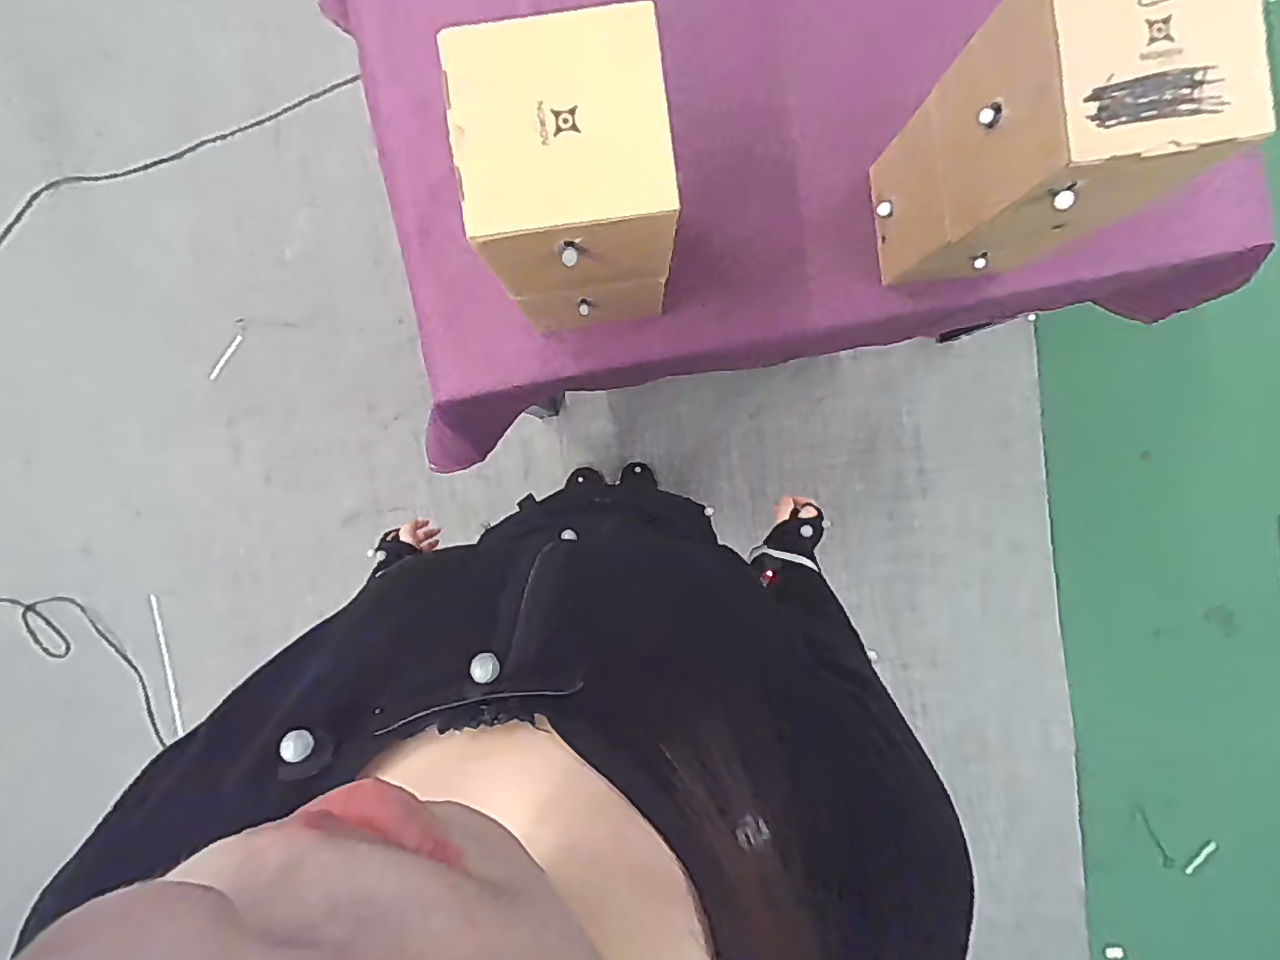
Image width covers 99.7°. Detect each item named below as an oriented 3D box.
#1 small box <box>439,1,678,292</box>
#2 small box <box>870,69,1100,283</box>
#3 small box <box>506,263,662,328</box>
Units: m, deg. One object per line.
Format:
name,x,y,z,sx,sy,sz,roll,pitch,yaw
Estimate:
small box,-0.064,-0.291,0.511,0.179,0.176,0.168,-8,92,1
small box,0.413,-0.361,0.673,0.179,0.176,0.168,-8,92,1
small box,-0.069,-0.297,0.674,0.179,0.176,0.168,-7,93,0
